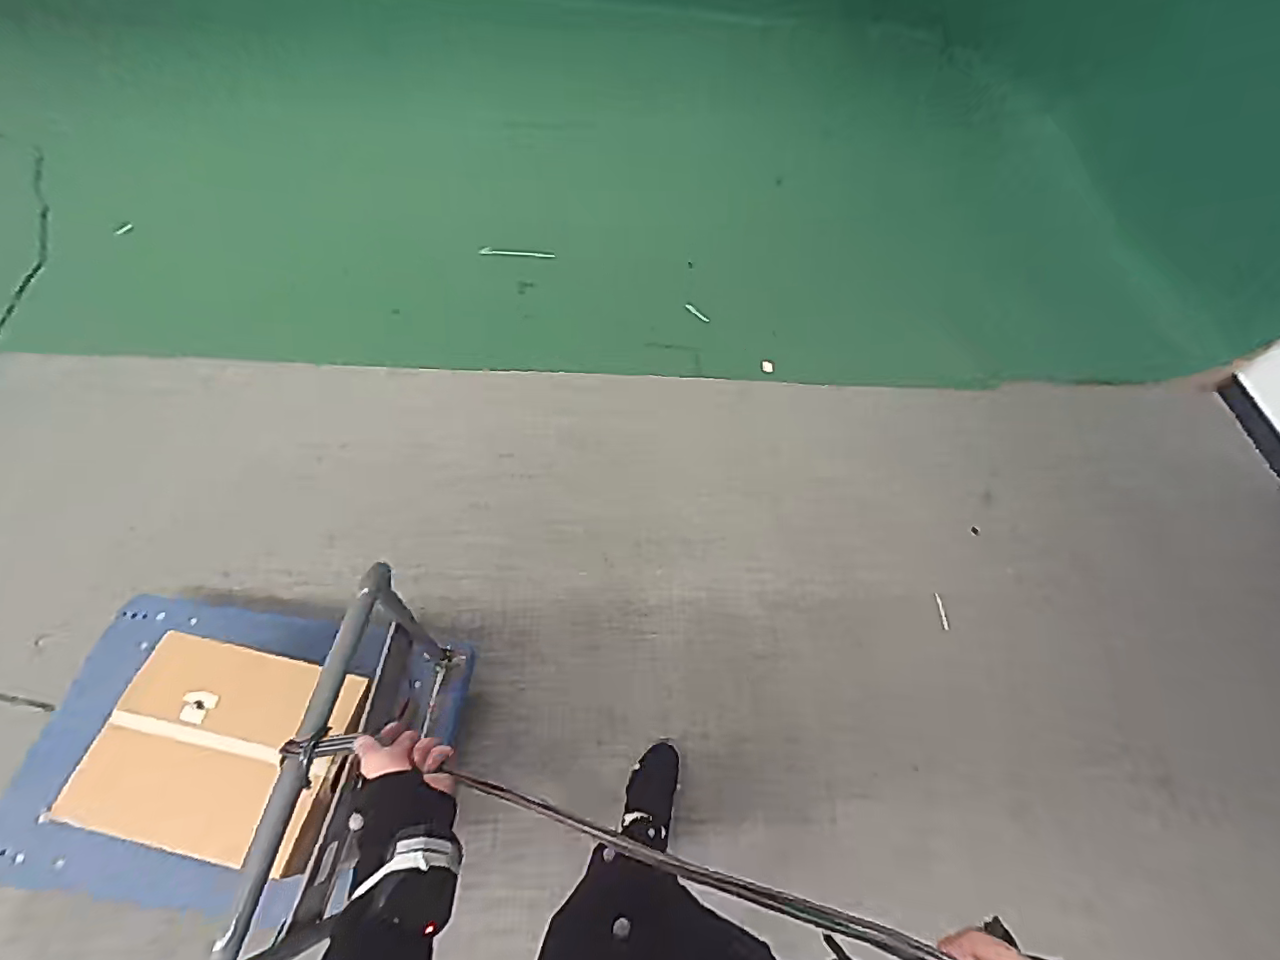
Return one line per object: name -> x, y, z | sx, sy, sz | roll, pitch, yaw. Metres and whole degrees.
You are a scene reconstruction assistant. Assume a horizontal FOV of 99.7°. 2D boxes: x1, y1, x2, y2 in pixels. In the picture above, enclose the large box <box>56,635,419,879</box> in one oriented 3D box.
large box -> -0.719, 0.529, 1.055 | 0.408, 0.320, 0.320 | 12, 59, 4
